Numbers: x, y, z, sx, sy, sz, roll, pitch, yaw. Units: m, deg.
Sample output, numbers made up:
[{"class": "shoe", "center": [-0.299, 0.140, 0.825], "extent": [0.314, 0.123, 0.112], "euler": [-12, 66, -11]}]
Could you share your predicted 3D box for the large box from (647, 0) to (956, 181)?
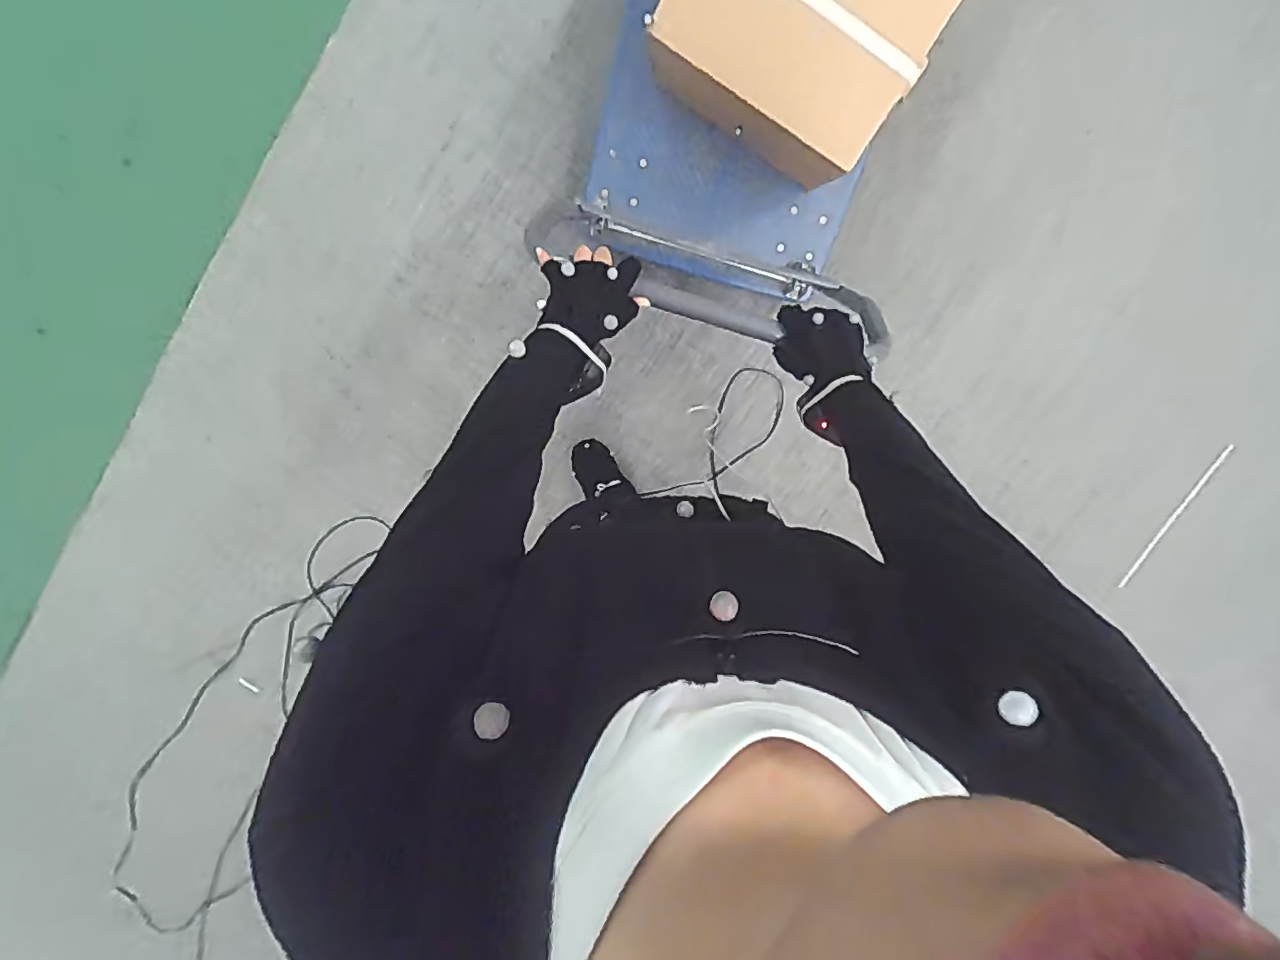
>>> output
[{"class": "large box", "center": [0.270, -0.802, 0.968], "extent": [0.408, 0.320, 0.320], "euler": [31, 112, -8]}]
